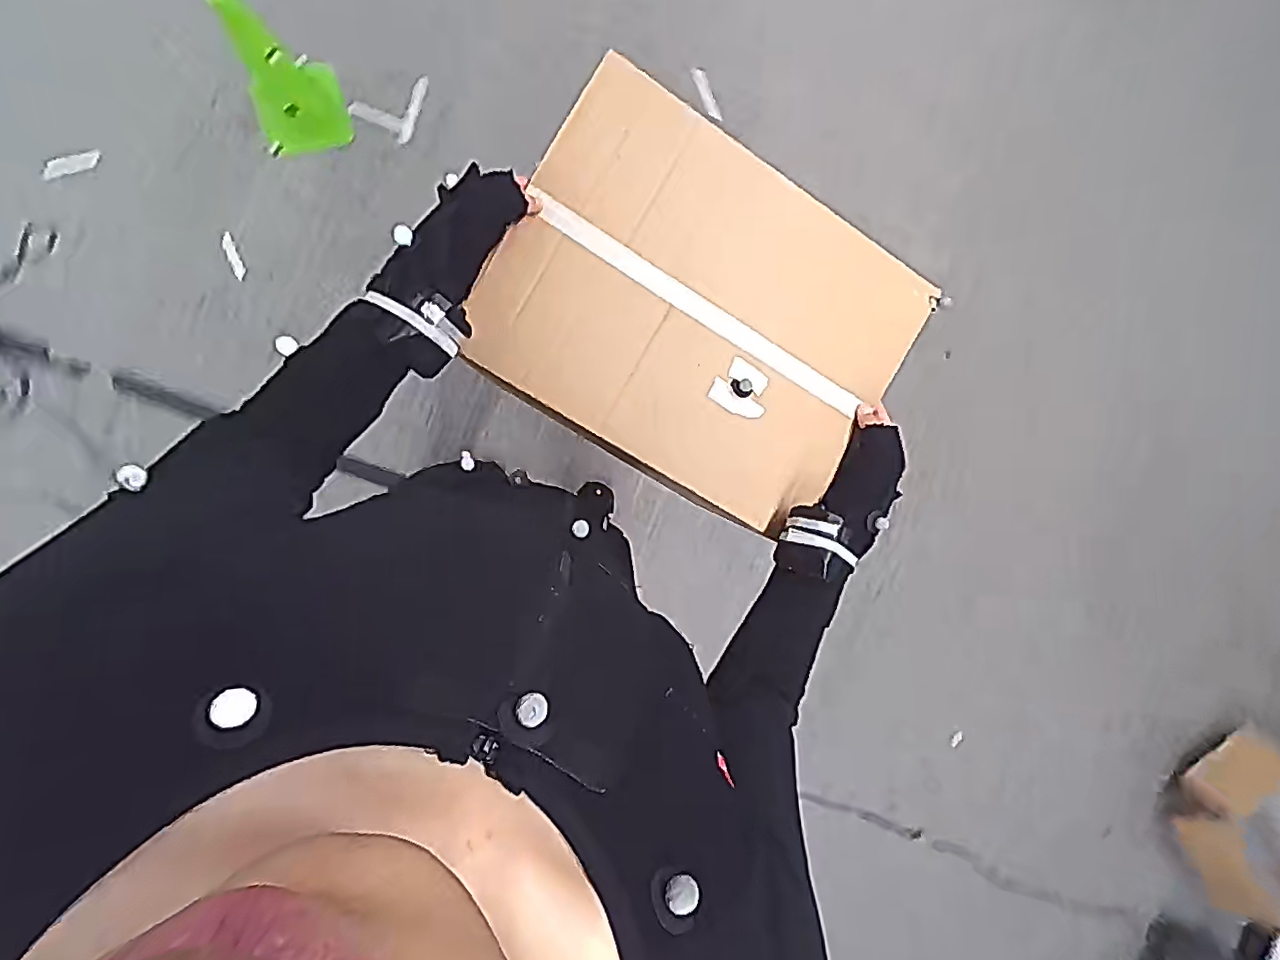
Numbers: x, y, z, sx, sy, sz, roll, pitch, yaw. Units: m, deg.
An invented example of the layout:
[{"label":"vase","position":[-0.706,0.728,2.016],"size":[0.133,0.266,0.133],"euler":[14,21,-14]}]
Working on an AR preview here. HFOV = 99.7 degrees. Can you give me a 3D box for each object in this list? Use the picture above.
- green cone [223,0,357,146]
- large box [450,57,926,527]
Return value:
[{"label":"green cone","position":[-0.798,-0.941,1.172],"size":[0.200,0.368,0.202],"euler":[-17,93,-9]},{"label":"large box","position":[0.038,-0.184,0.681],"size":[0.408,0.320,0.320],"euler":[29,90,-11]}]
